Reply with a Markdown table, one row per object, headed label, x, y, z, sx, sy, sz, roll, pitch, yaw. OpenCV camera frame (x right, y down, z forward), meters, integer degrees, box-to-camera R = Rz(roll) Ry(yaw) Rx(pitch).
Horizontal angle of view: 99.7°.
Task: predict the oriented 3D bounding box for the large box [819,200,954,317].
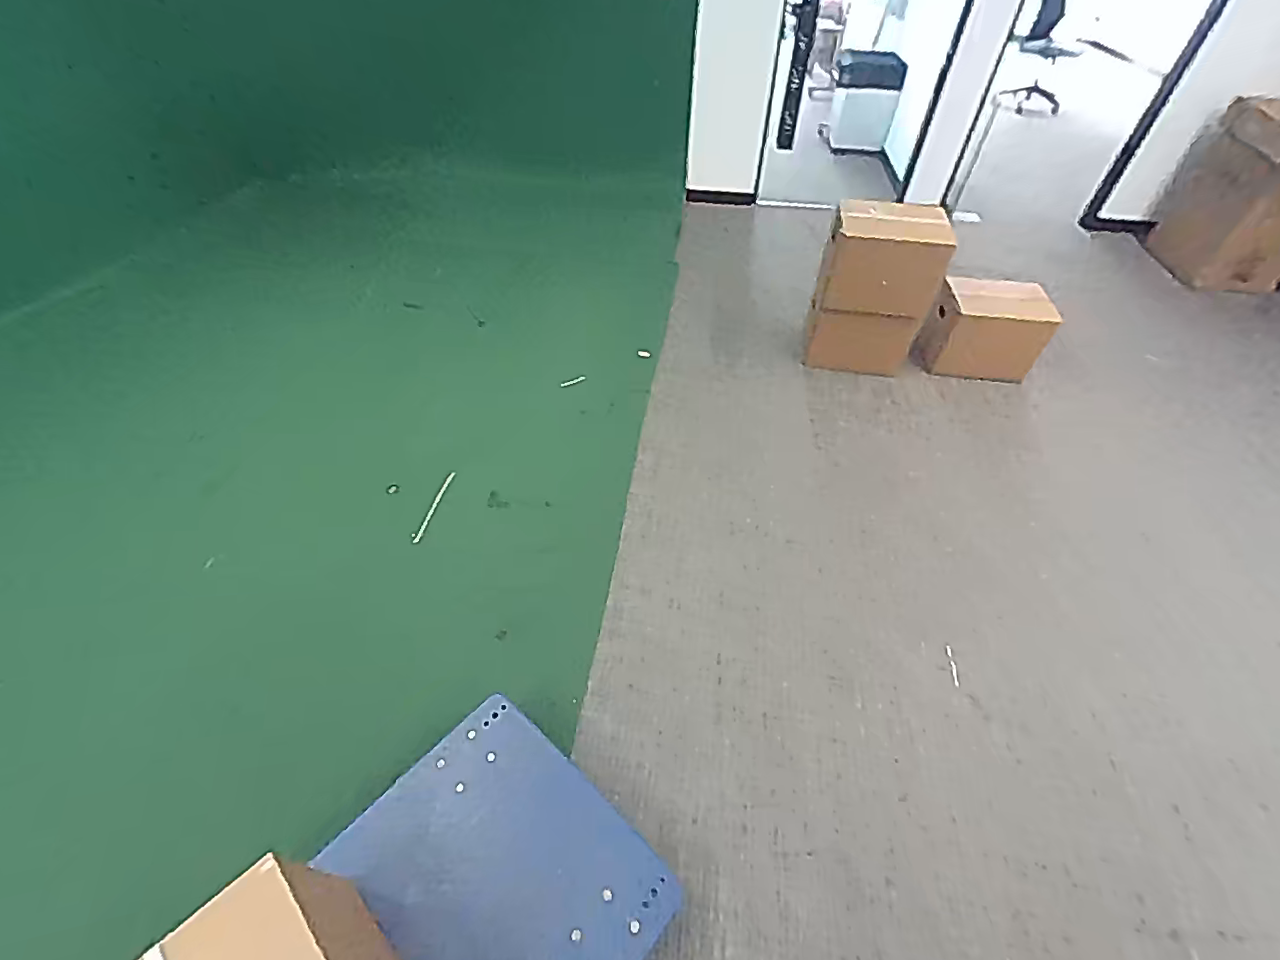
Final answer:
| label | x | y | z | sx | sy | sz | roll | pitch | yaw |
| --- | --- | --- | --- | --- | --- | --- | --- | --- | --- |
| large box | 0.954 | -0.880 | 2.153 | 0.408 | 0.320 | 0.320 | 8 | 50 | 7 |
